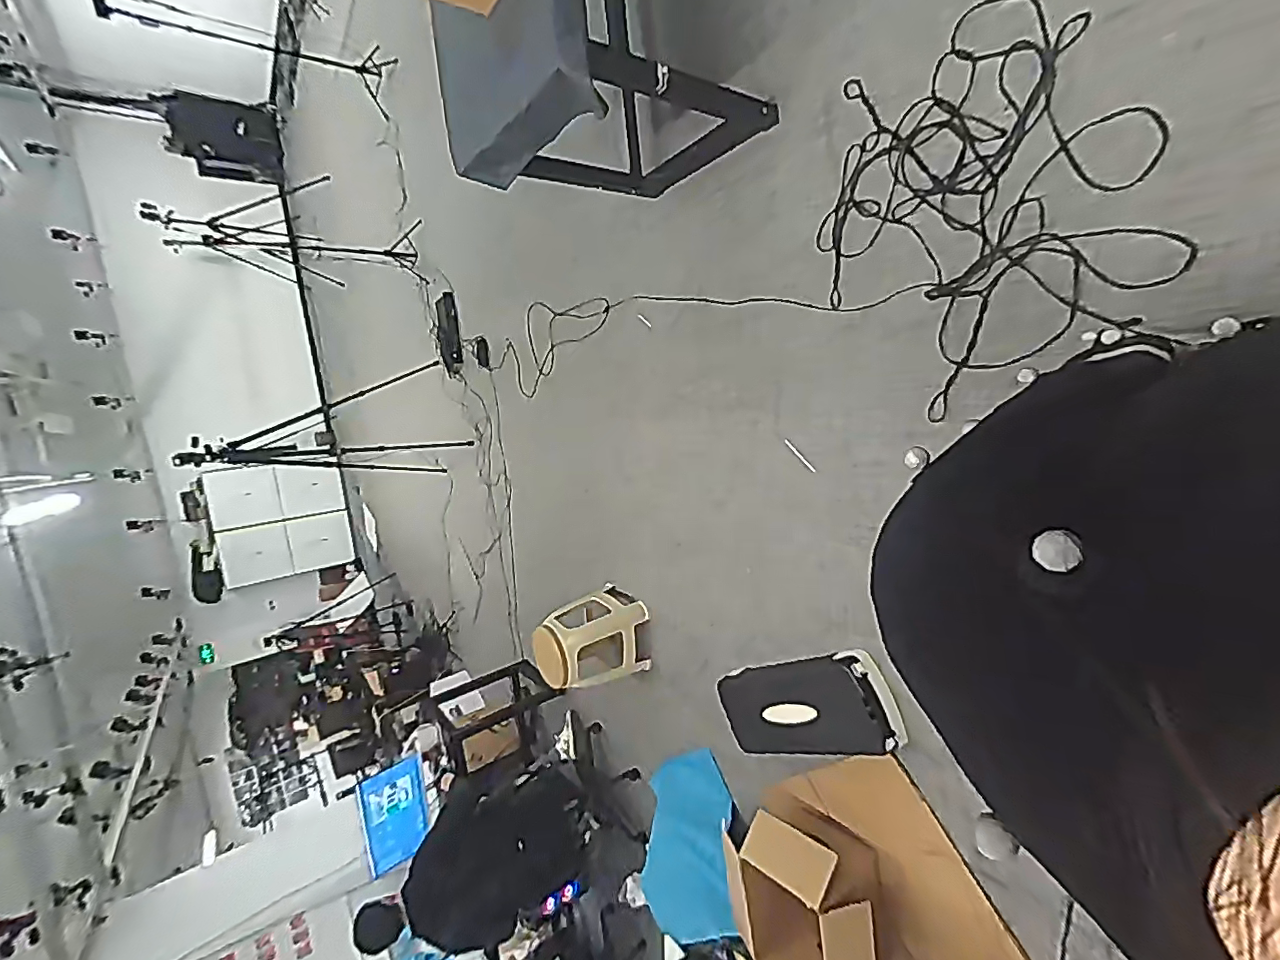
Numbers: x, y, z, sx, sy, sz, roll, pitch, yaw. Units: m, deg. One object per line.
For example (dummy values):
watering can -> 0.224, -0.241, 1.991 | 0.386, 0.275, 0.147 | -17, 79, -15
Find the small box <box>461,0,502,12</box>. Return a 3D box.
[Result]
small box -> -0.373, -1.185, 1.182 | 0.179, 0.176, 0.168 | 4, 103, 53
